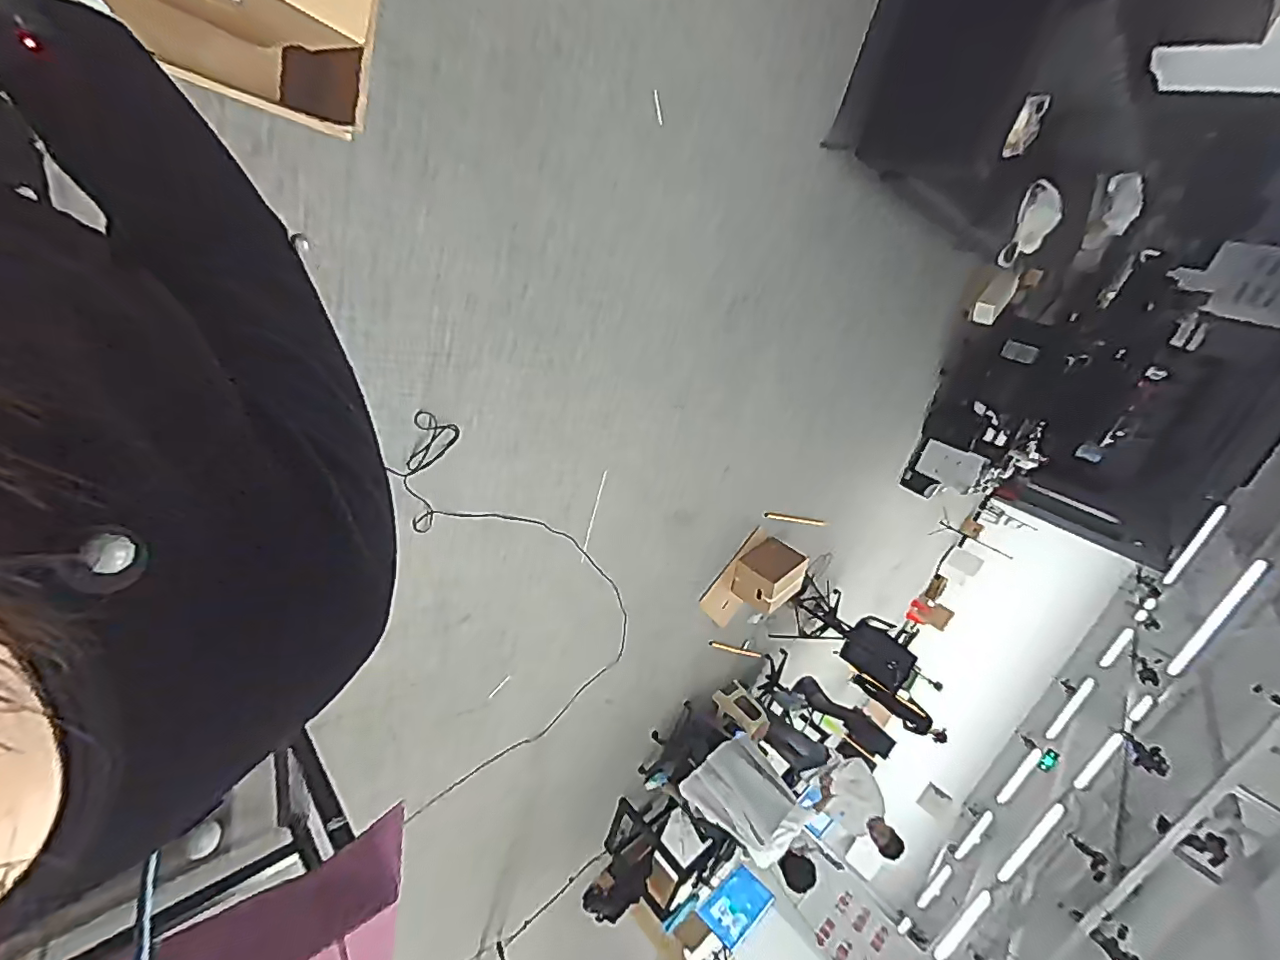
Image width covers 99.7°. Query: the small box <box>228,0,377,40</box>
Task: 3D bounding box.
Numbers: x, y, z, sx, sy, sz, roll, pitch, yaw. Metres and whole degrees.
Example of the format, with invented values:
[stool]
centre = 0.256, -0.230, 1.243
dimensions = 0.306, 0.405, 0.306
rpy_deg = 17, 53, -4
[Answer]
[small box]
centre = -0.353, -0.539, 0.494
dimensions = 0.179, 0.176, 0.168
rpy_deg = -1, 118, -49
